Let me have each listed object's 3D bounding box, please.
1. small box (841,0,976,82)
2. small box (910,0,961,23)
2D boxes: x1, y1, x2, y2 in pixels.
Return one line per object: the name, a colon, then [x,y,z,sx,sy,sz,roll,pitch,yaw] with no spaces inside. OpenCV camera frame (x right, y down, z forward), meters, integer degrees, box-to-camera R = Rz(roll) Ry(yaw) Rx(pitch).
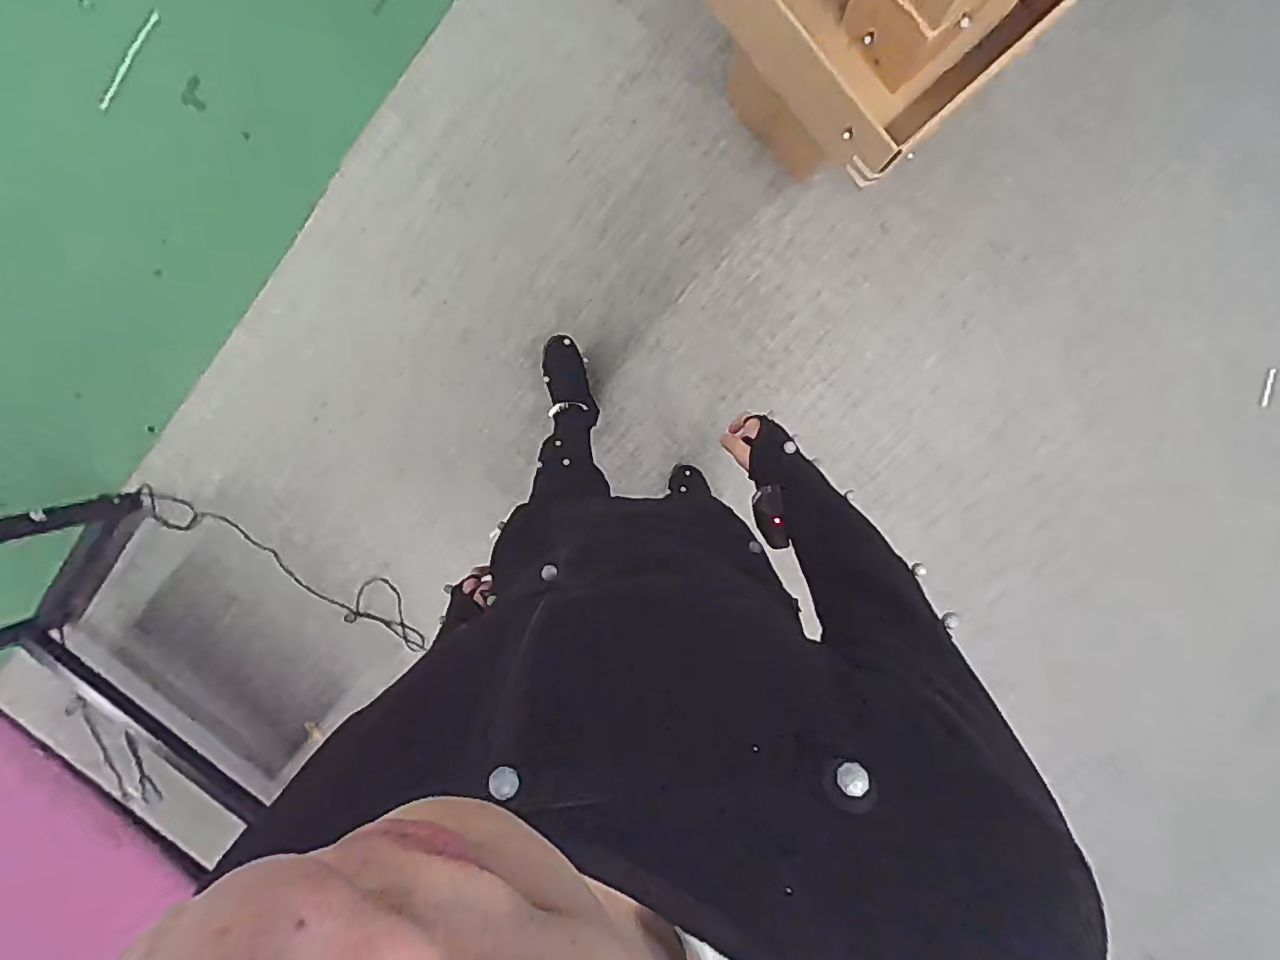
small box: [0.476,-0.844,0.920,0.179,0.176,0.168,-41,95,11]
small box: [0.470,-0.819,0.758,0.179,0.176,0.168,-39,95,10]
